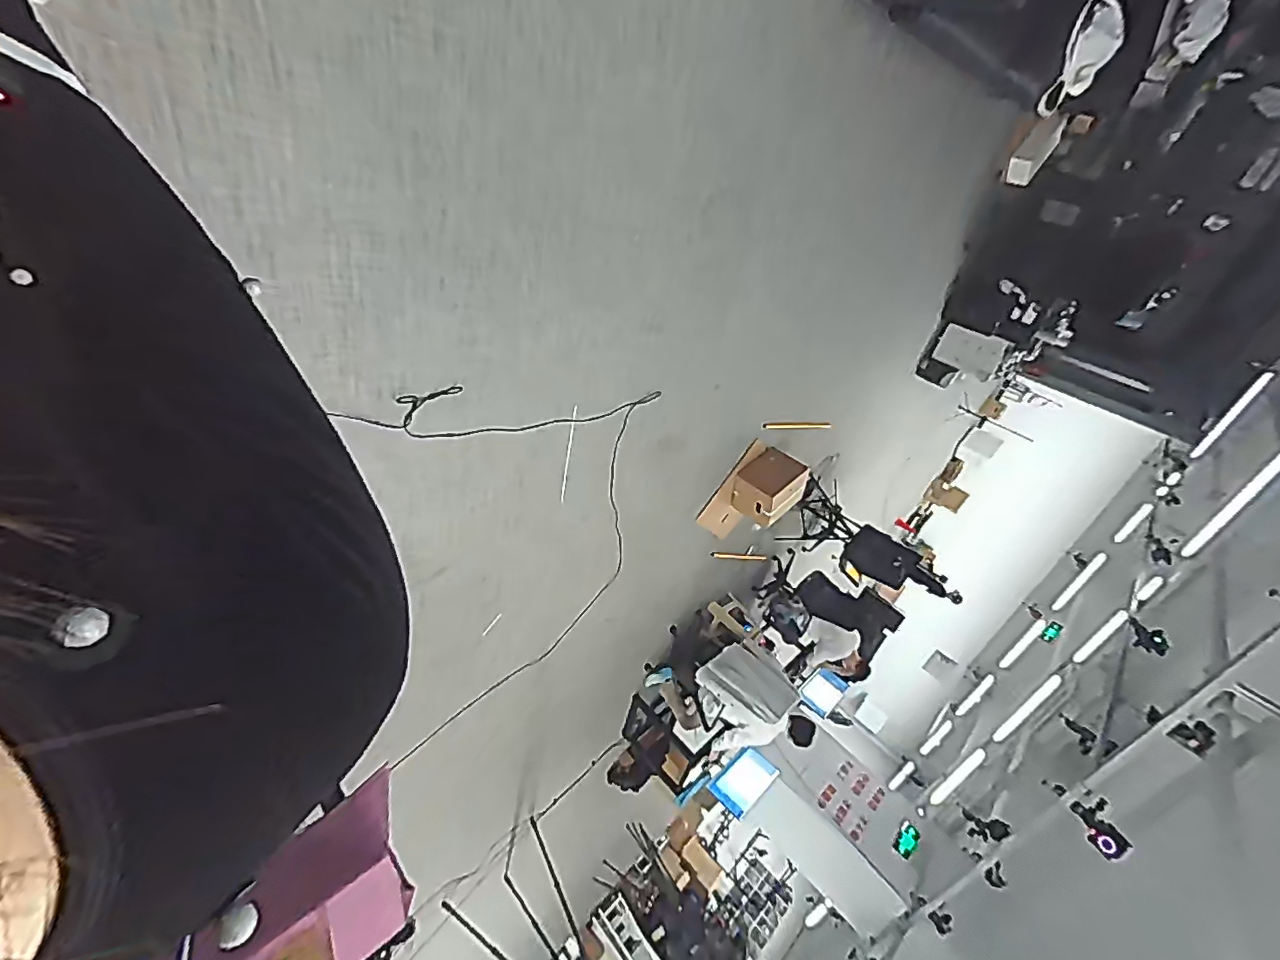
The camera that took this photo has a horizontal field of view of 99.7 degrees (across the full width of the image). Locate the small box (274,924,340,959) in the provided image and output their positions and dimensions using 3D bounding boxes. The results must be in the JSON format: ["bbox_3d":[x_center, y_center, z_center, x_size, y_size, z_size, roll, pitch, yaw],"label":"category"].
[{"bbox_3d":[-0.850,1.288,1.363,0.179,0.176,0.168,-21,137,-40],"label":"small box"}]
